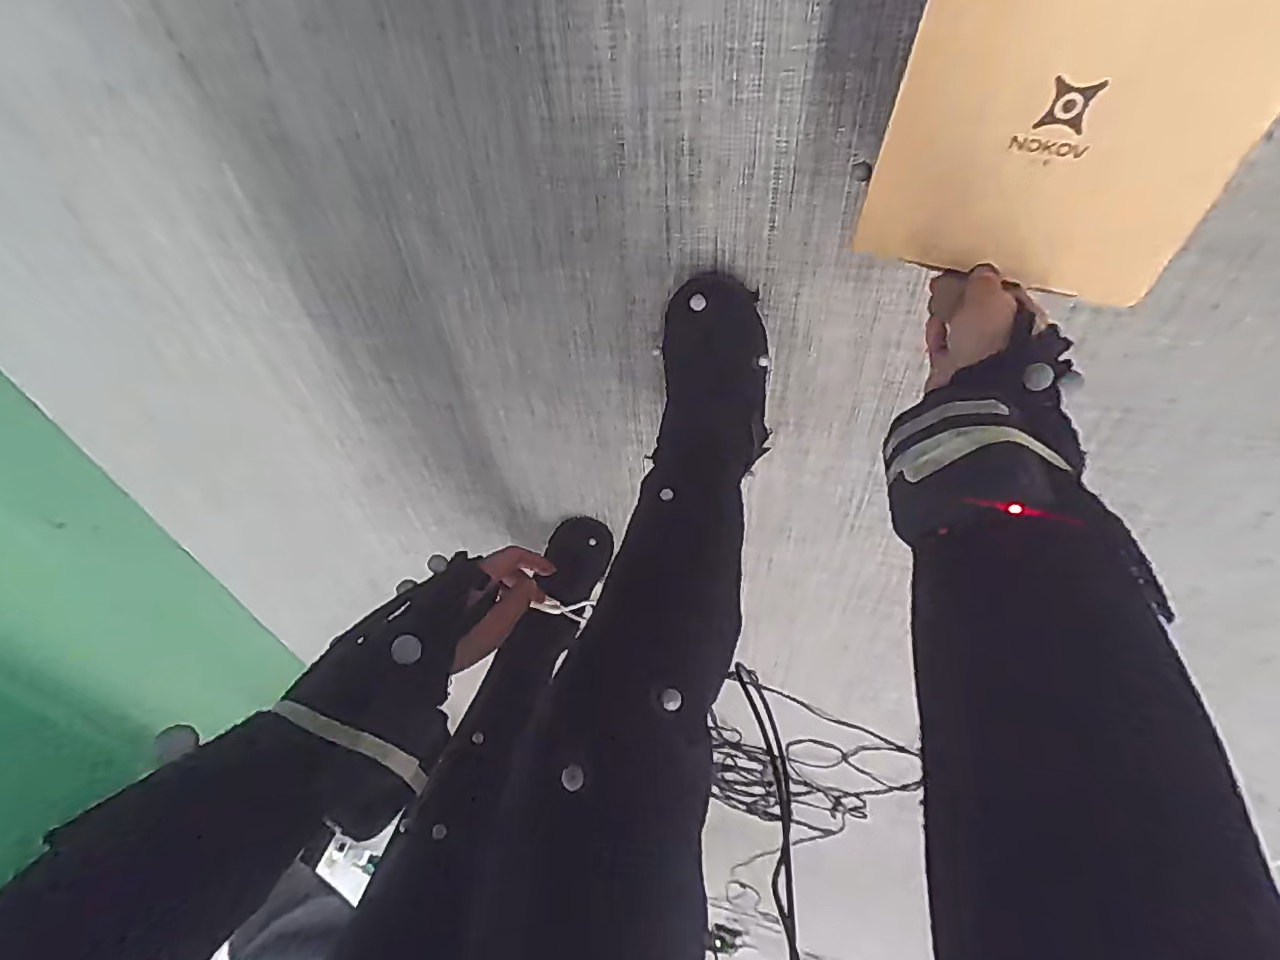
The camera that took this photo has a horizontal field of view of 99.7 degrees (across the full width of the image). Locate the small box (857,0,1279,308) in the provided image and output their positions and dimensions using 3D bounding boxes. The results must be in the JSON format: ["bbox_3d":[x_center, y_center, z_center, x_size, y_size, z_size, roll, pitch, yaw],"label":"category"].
[{"bbox_3d":[0.250,-0.236,0.322,0.168,0.176,0.179,20,139,17],"label":"small box"}]
